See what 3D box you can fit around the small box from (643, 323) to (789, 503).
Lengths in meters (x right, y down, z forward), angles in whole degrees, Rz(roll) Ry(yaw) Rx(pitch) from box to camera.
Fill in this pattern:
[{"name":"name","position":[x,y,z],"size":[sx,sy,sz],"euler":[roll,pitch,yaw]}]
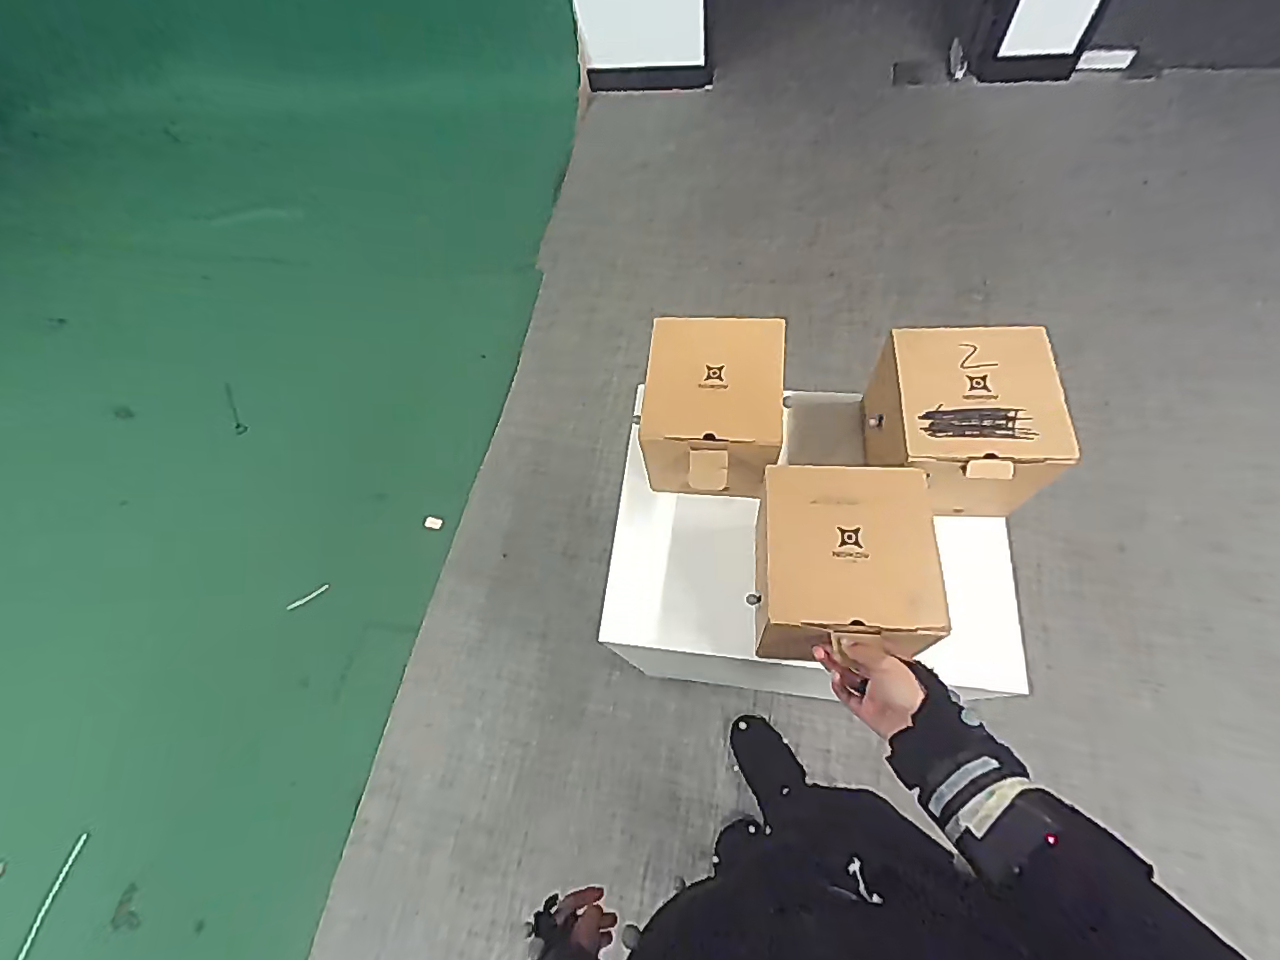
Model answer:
[{"name":"small box","position":[0.102,-0.085,0.721],"size":[0.168,0.176,0.179],"euler":[3,68,9]}]

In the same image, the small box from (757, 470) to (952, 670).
[{"name":"small box","position":[0.222,0.106,0.606],"size":[0.168,0.176,0.179],"euler":[2,61,9]}]
